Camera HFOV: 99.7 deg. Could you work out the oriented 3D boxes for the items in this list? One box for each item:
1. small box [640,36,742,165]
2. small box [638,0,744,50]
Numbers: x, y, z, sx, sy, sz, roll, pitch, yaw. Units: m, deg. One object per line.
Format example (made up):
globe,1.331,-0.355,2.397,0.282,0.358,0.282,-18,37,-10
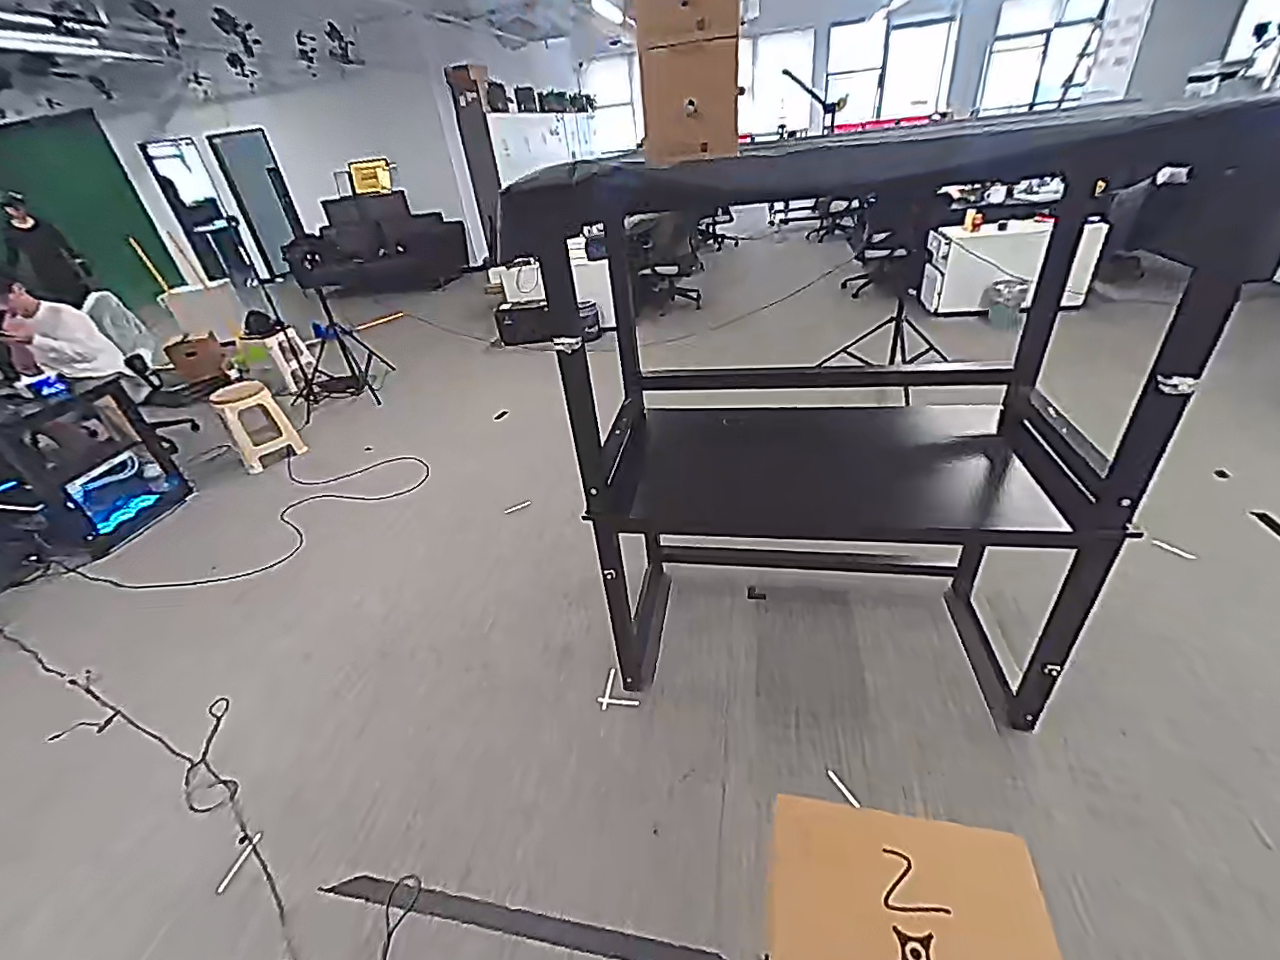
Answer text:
small box,0.099,-0.672,0.975,0.168,0.176,0.179,-1,32,8
small box,0.085,-0.813,0.890,0.168,0.176,0.179,-2,32,10
